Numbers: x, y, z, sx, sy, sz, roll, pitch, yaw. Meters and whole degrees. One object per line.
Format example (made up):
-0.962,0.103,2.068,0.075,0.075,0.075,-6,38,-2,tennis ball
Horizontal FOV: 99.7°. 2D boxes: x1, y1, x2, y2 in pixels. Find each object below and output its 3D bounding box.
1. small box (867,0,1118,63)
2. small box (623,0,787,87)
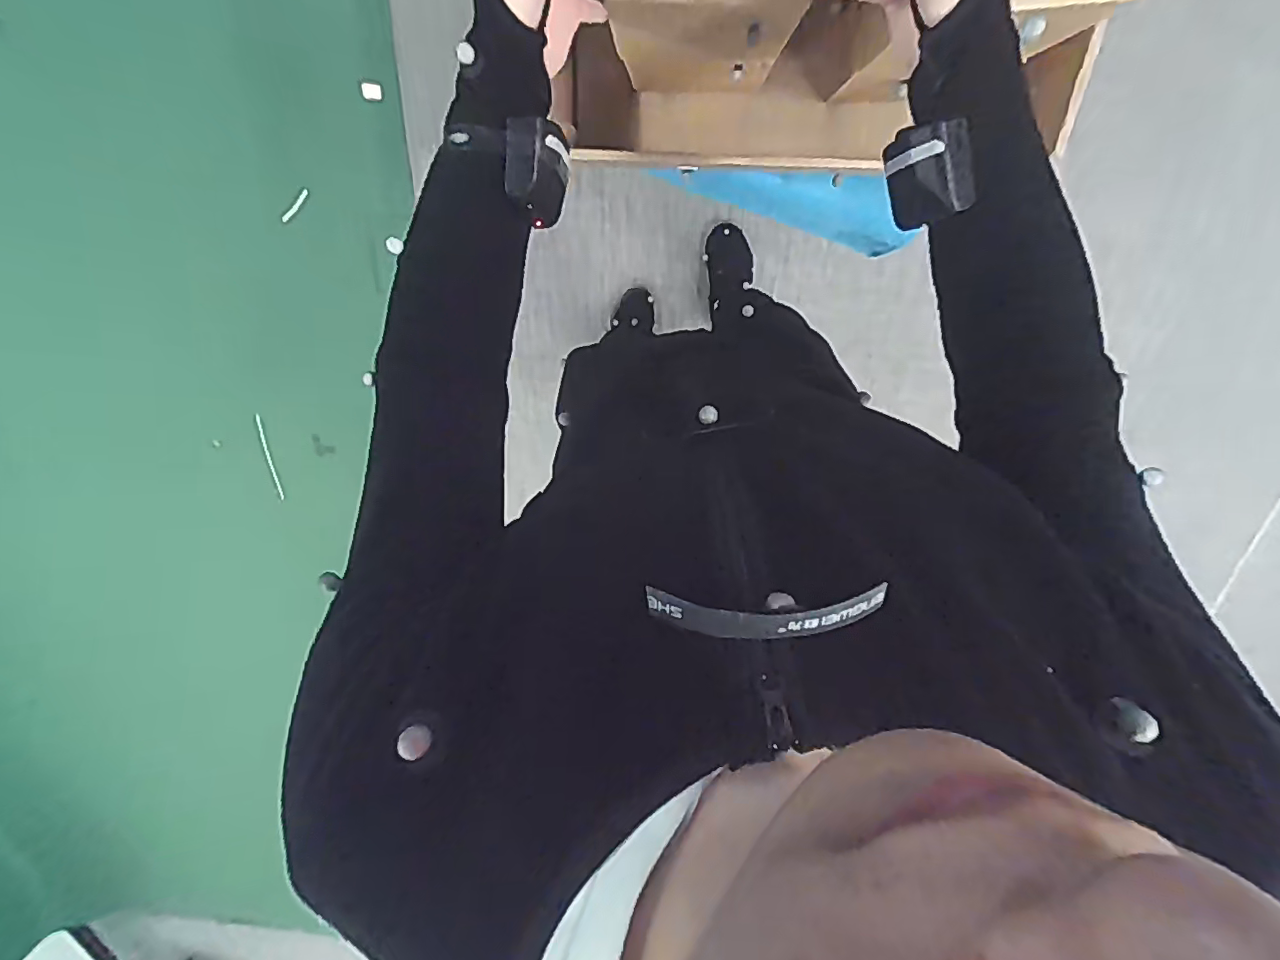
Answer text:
0.311,-0.483,0.465,0.179,0.176,0.168,0,116,7,small box
0.076,-0.578,0.632,0.179,0.176,0.168,3,116,3,small box
